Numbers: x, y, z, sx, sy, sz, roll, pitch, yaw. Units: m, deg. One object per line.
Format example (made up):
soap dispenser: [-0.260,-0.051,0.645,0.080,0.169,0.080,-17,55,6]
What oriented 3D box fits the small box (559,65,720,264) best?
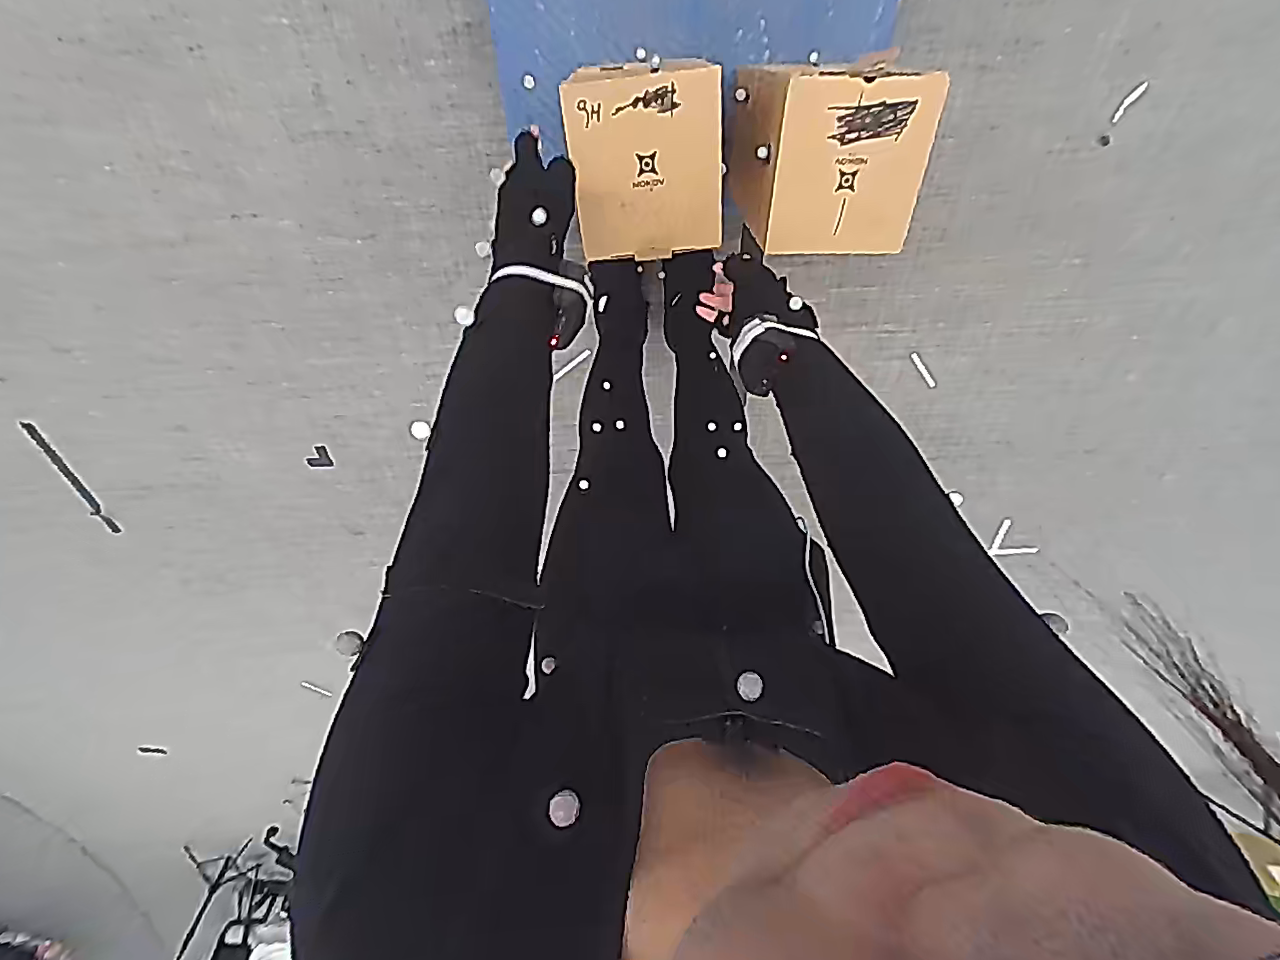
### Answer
small box: [0.004,-0.384,0.656,0.168,0.176,0.179,-5,129,2]

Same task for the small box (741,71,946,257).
small box: [0.225,-0.386,0.656,0.168,0.176,0.179,0,129,-2]
